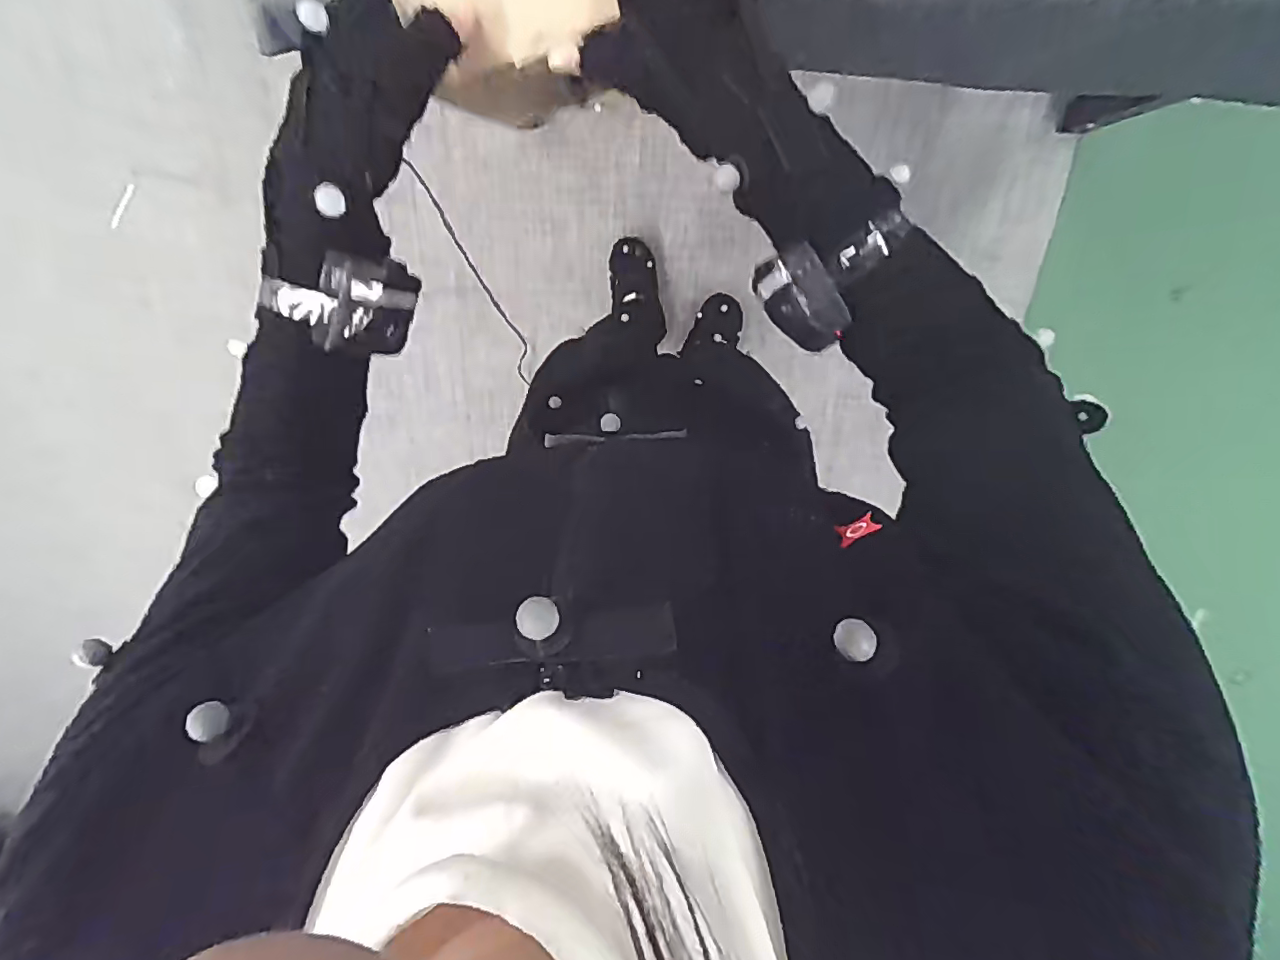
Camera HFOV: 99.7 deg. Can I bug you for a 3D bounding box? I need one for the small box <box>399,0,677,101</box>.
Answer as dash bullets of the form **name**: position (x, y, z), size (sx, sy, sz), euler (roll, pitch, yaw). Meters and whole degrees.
- **small box**: position (-0.072, -0.384, 0.369), size (0.168, 0.176, 0.179), euler (-10, 117, 11)
